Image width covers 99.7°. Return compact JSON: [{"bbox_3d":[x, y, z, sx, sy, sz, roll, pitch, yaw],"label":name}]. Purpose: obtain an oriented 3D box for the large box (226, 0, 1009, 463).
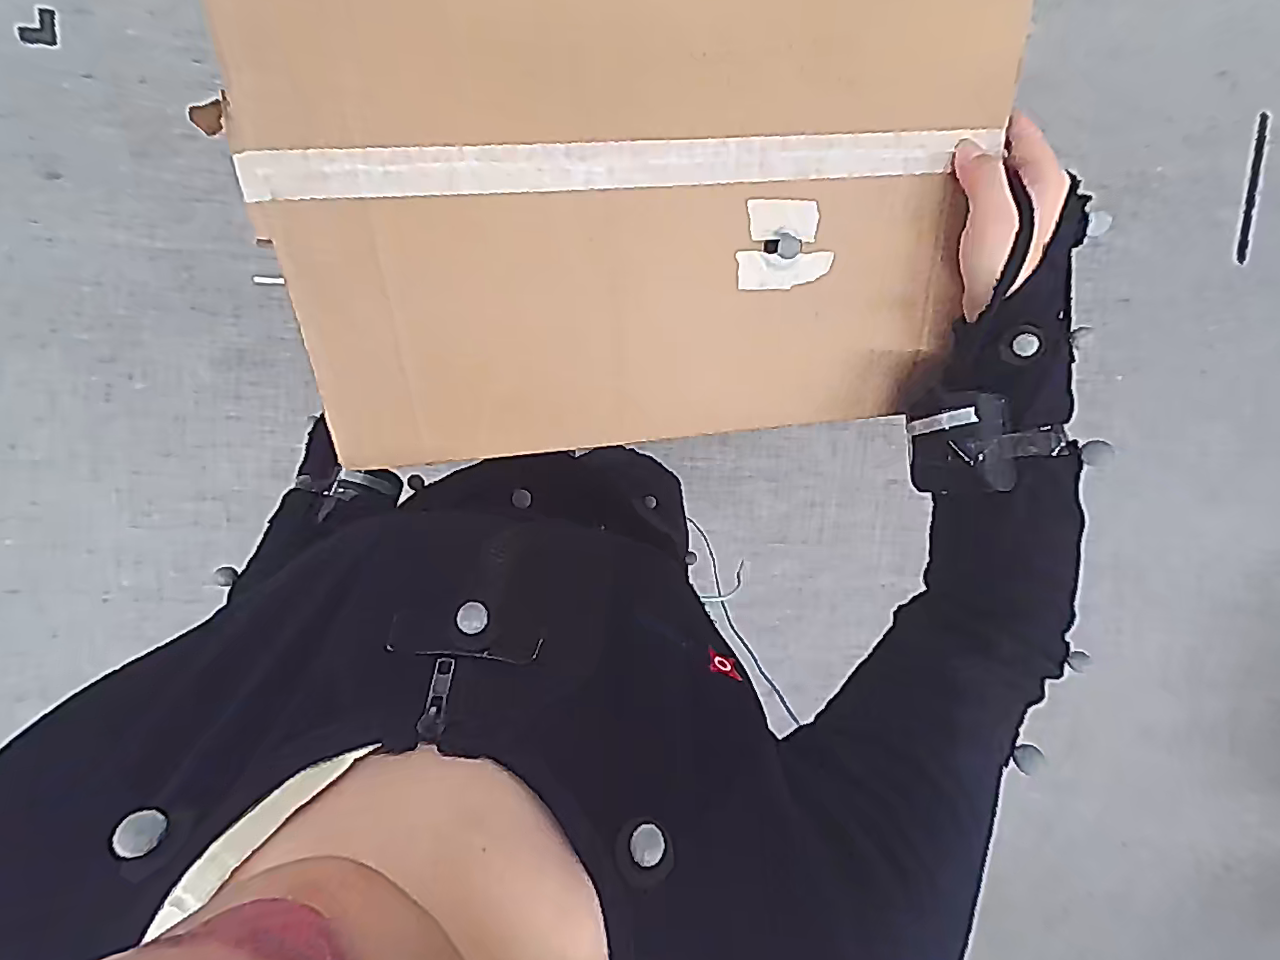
[{"bbox_3d":[-0.016,-0.232,0.433,0.408,0.320,0.320,-7,115,-9],"label":"large box"}]
